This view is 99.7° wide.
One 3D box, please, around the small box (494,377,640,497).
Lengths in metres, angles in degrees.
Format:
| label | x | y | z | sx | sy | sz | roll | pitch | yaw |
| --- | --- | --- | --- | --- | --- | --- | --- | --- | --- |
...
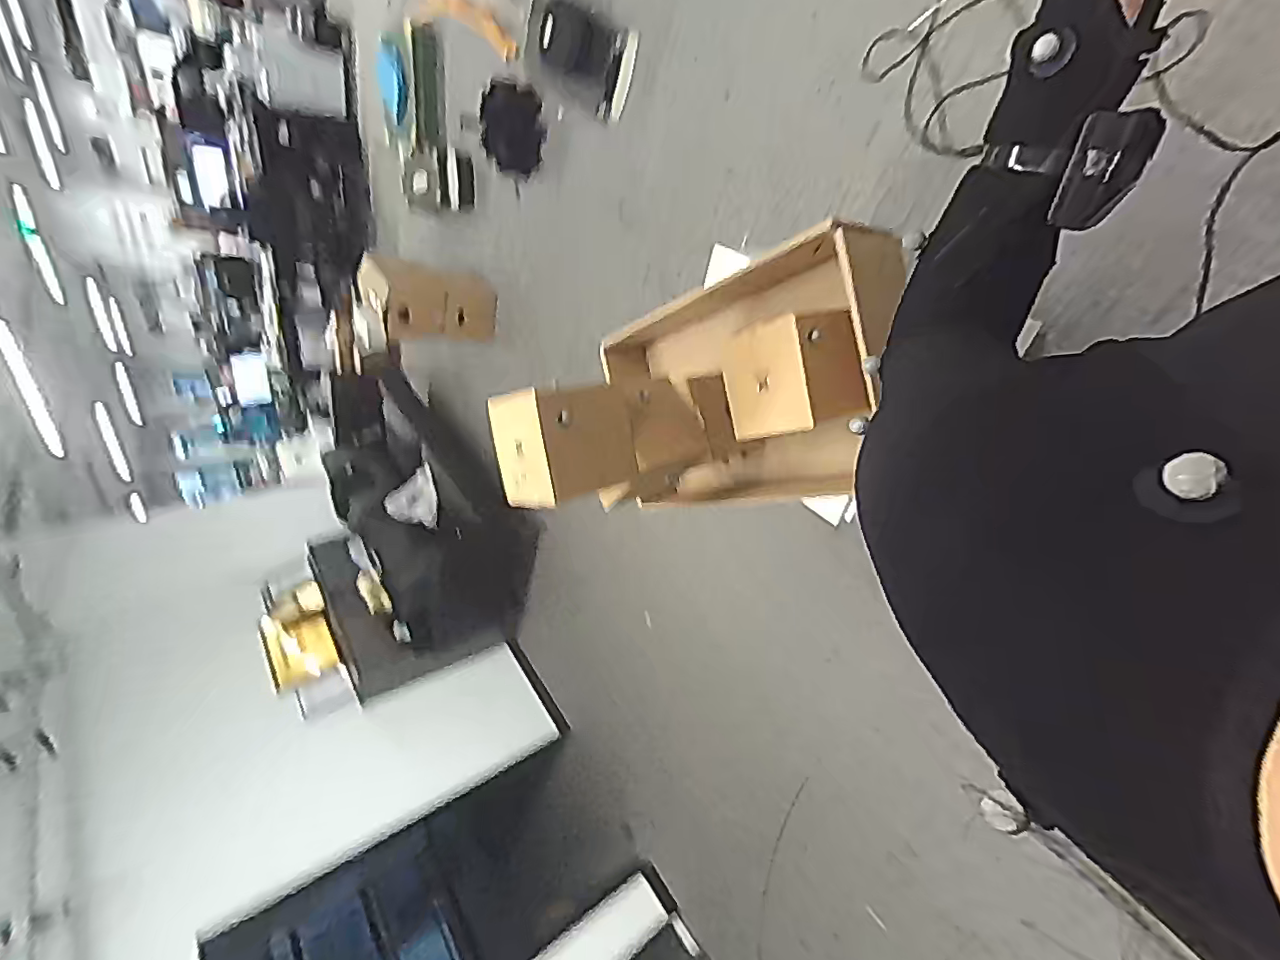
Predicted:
| label | x | y | z | sx | sy | sz | roll | pitch | yaw |
| --- | --- | --- | --- | --- | --- | --- | --- | --- | --- |
| small box | -0.122 | -0.077 | 0.925 | 0.168 | 0.176 | 0.179 | 0 | 104 | 52 |

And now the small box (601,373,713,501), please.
| label | x | y | z | sx | sy | sz | roll | pitch | yaw |
| --- | --- | --- | --- | --- | --- | --- | --- | --- | --- |
| small box | 0.004 | -0.088 | 1.035 | 0.179 | 0.176 | 0.168 | 59 | 141 | 15 |
